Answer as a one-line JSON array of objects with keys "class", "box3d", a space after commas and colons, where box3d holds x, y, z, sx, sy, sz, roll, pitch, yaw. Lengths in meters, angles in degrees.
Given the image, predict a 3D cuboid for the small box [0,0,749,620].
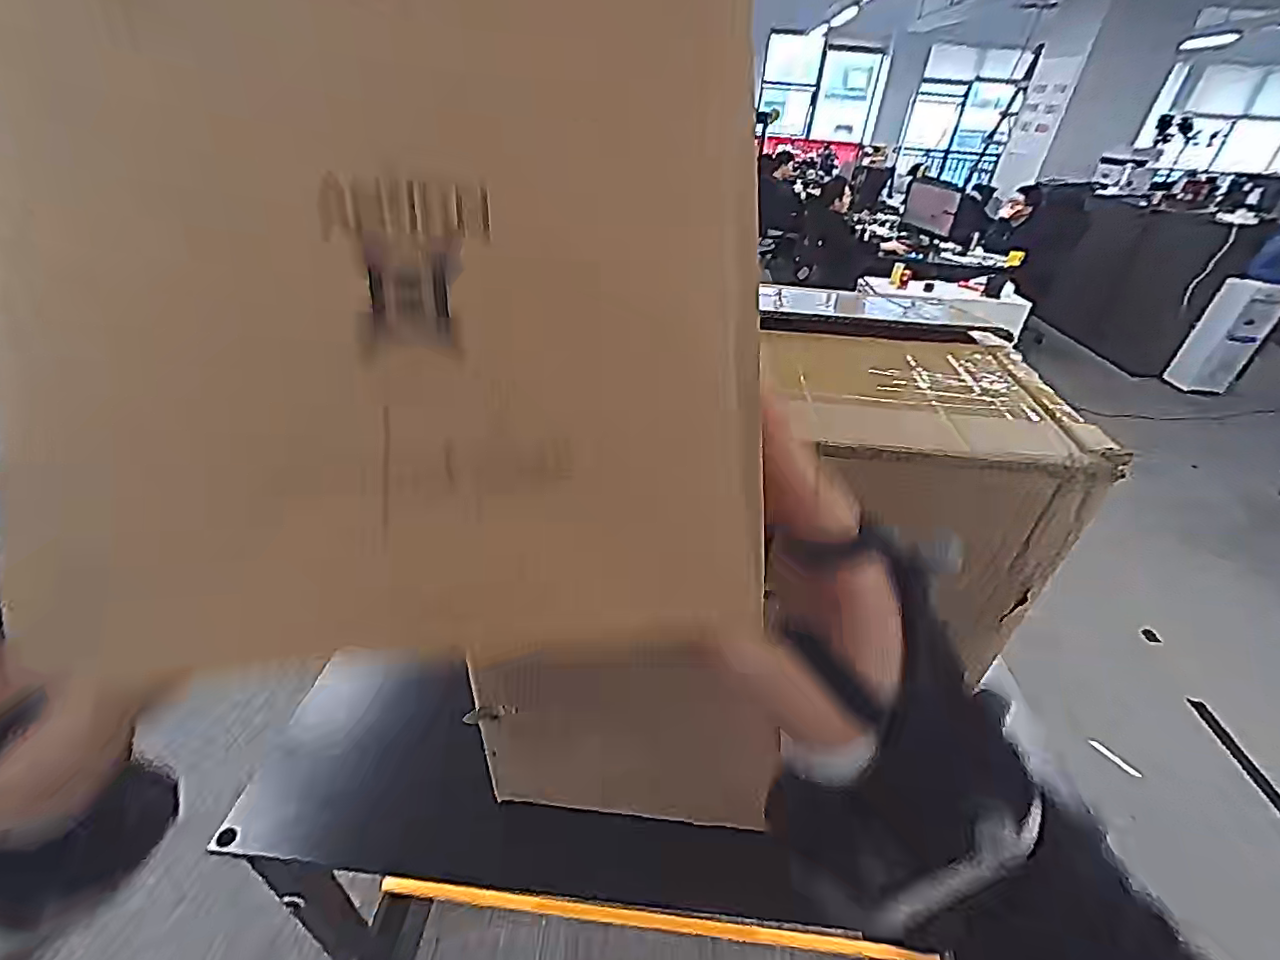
[{"class": "small box", "box3d": [-0.068, -0.064, 0.200, 0.168, 0.179, 0.176, -3, 4, -8]}]
